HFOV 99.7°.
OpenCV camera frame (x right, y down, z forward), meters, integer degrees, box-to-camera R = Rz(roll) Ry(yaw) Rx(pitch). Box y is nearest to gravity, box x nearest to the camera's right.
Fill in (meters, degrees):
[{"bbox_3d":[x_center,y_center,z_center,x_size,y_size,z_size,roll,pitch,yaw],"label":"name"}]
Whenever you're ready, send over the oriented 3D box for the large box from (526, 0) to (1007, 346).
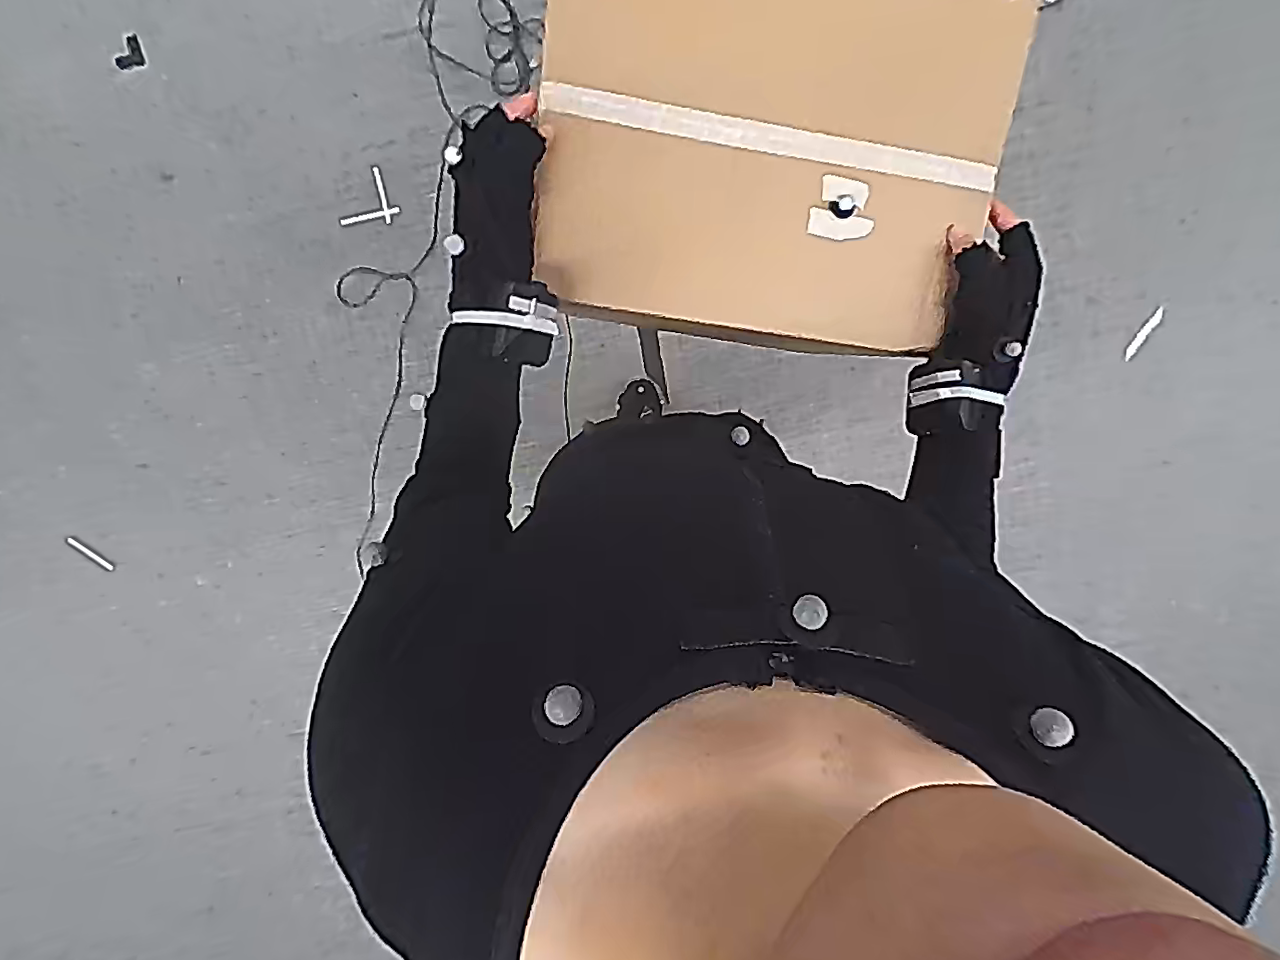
[{"bbox_3d":[0.094,-0.335,0.622,0.408,0.320,0.320,6,103,-6],"label":"large box"}]
